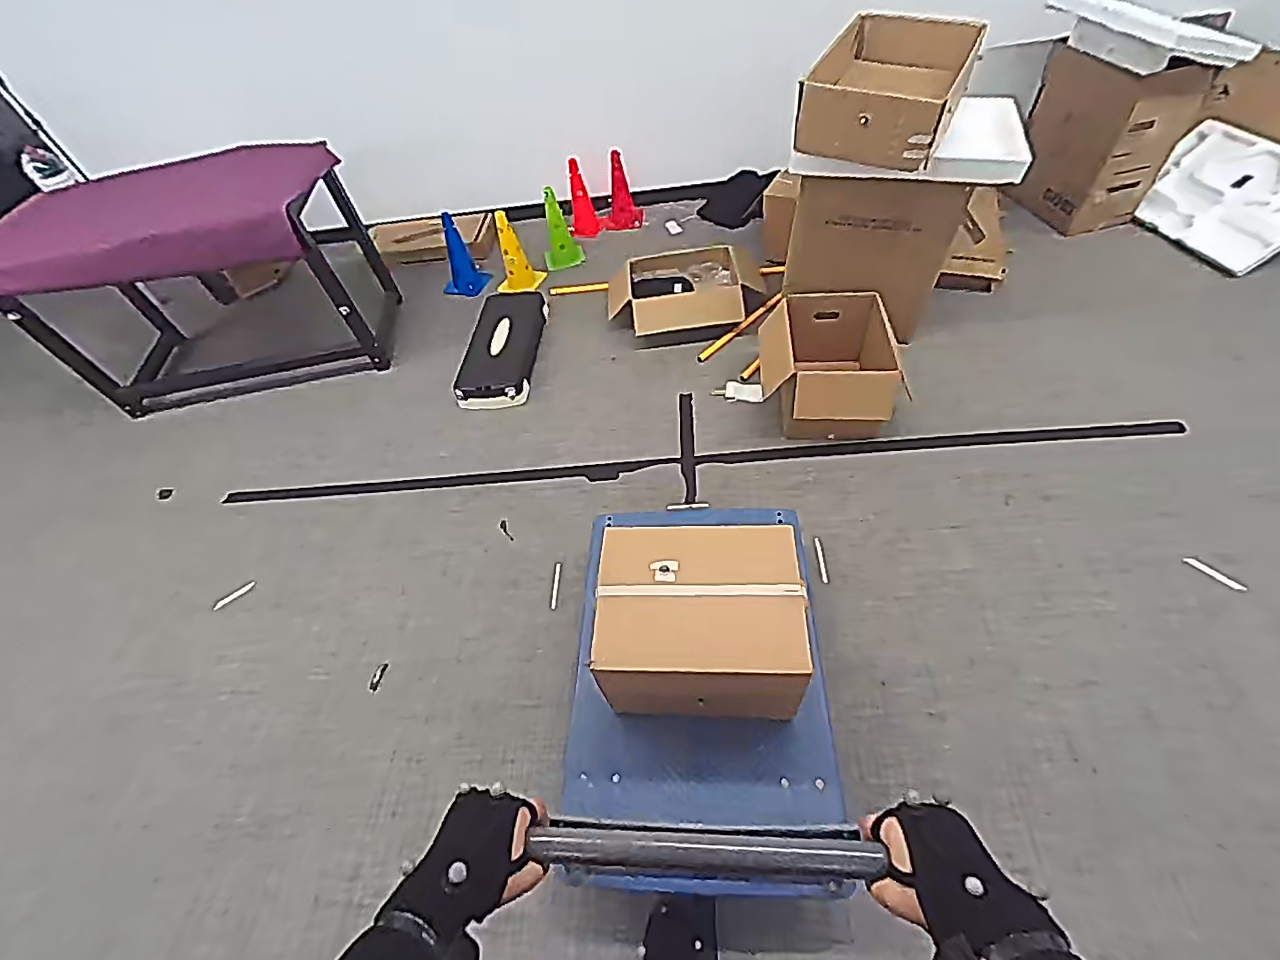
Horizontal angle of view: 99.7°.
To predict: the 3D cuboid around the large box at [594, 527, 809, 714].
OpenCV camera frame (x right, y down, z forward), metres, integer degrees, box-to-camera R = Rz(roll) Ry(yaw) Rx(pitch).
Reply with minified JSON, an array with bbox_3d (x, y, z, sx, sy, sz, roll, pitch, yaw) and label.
[{"bbox_3d":[0.133,0.321,1.201,0.408,0.320,0.320,-3,51,7],"label":"large box"}]
